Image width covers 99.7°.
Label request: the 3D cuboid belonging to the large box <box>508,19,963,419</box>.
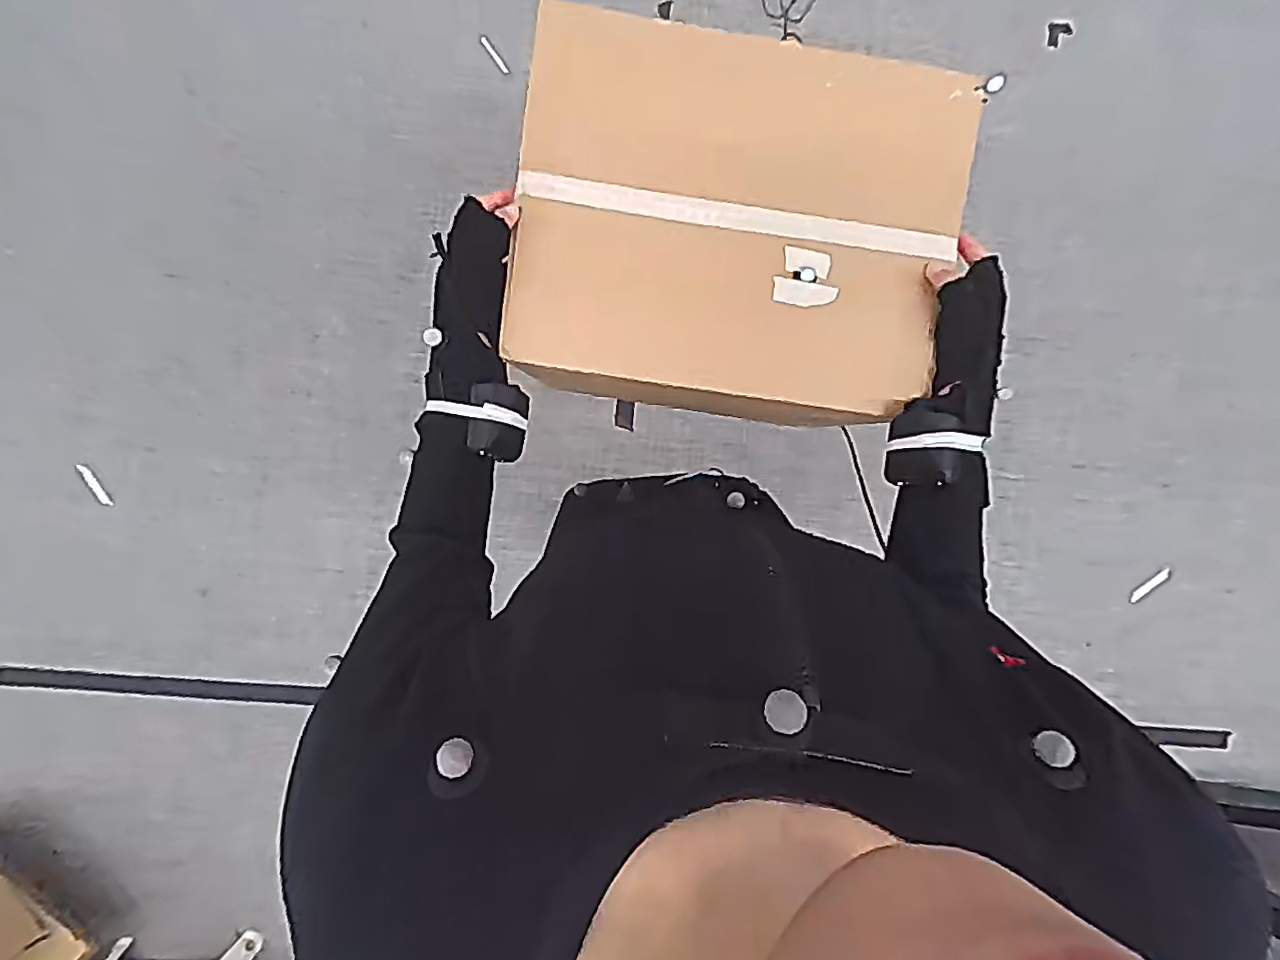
[{"bbox_3d":[0.082,-0.256,0.656,0.408,0.320,0.320,8,95,-3],"label":"large box"}]
